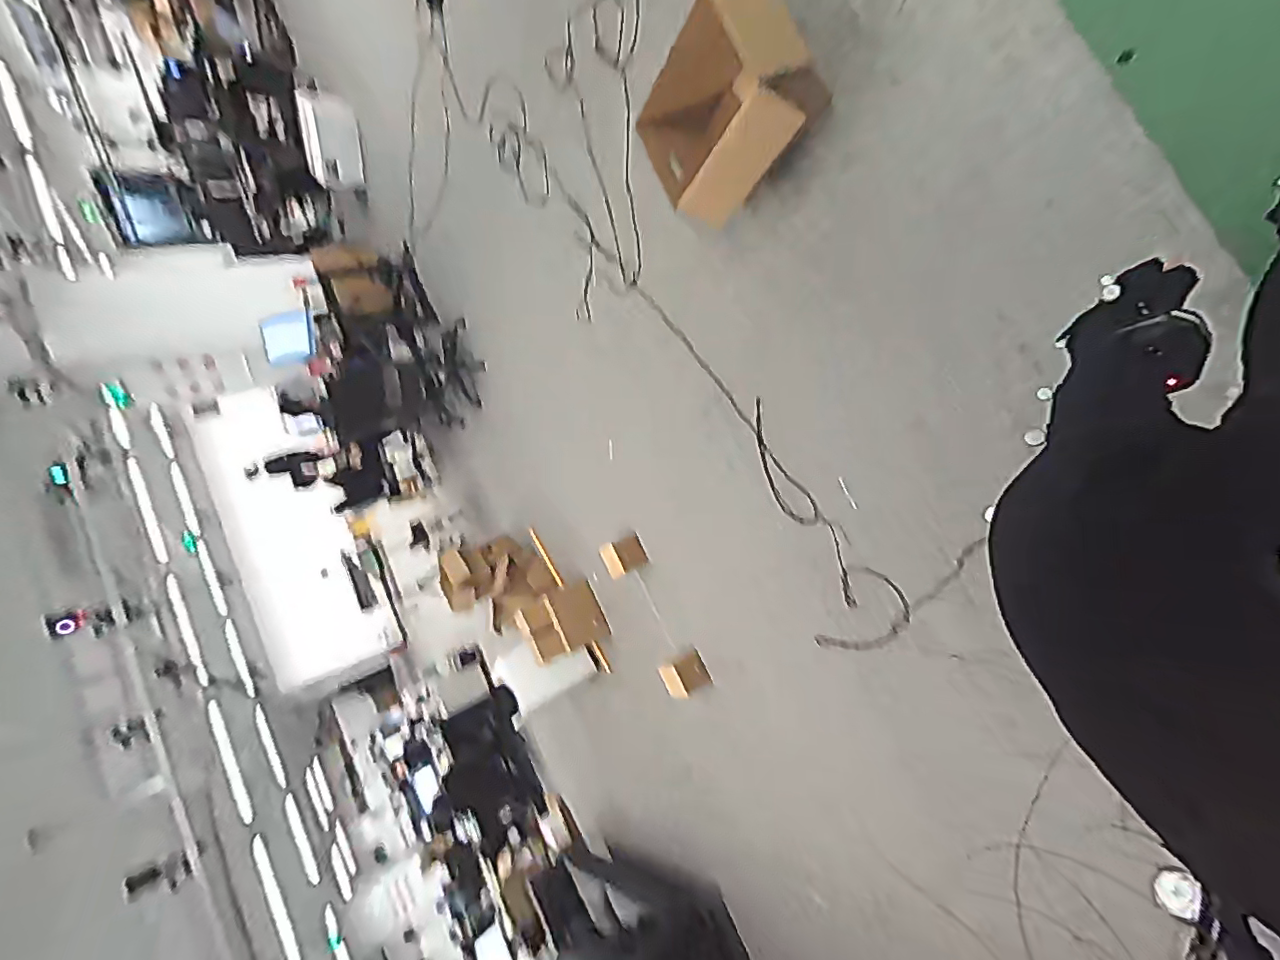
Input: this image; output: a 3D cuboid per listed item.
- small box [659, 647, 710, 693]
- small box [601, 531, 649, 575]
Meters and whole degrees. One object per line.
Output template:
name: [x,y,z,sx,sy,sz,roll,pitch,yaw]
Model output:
small box: [0.235,0.989,2.817,0.168,0.176,0.179,62,146,9]
small box: [-0.081,0.393,2.938,0.179,0.176,0.168,62,146,9]
